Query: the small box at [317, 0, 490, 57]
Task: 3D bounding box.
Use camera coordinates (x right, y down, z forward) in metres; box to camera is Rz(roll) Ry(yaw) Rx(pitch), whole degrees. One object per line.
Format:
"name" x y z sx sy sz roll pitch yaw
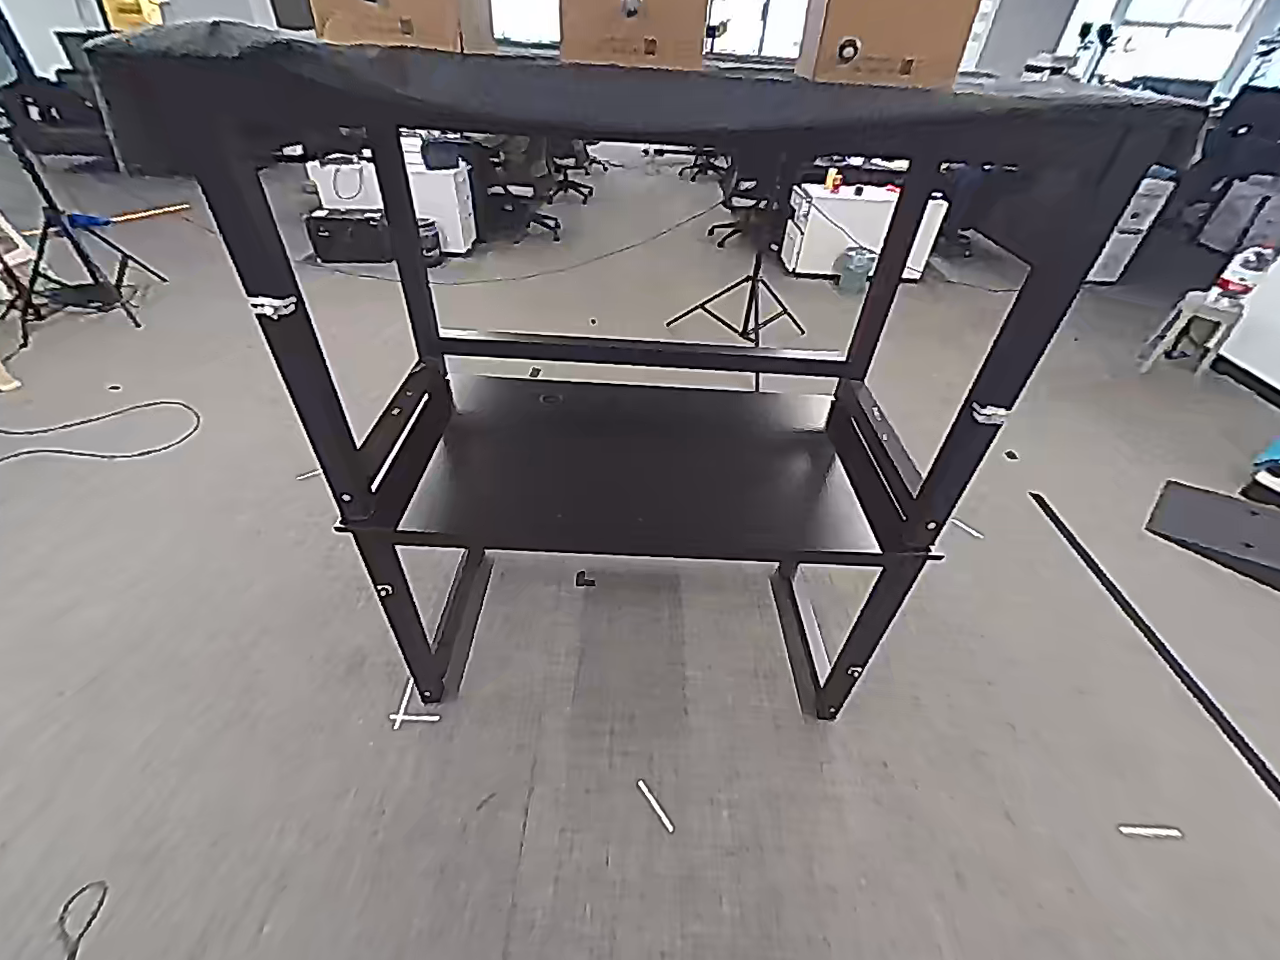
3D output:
"small box" -0.277 -0.611 0.631 0.168 0.176 0.179 3 39 -3

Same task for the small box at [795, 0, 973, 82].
"small box" 0.295 -0.587 0.650 0.168 0.176 0.179 5 38 2

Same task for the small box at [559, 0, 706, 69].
"small box" -0.004 -0.600 0.638 0.168 0.176 0.179 3 38 0
